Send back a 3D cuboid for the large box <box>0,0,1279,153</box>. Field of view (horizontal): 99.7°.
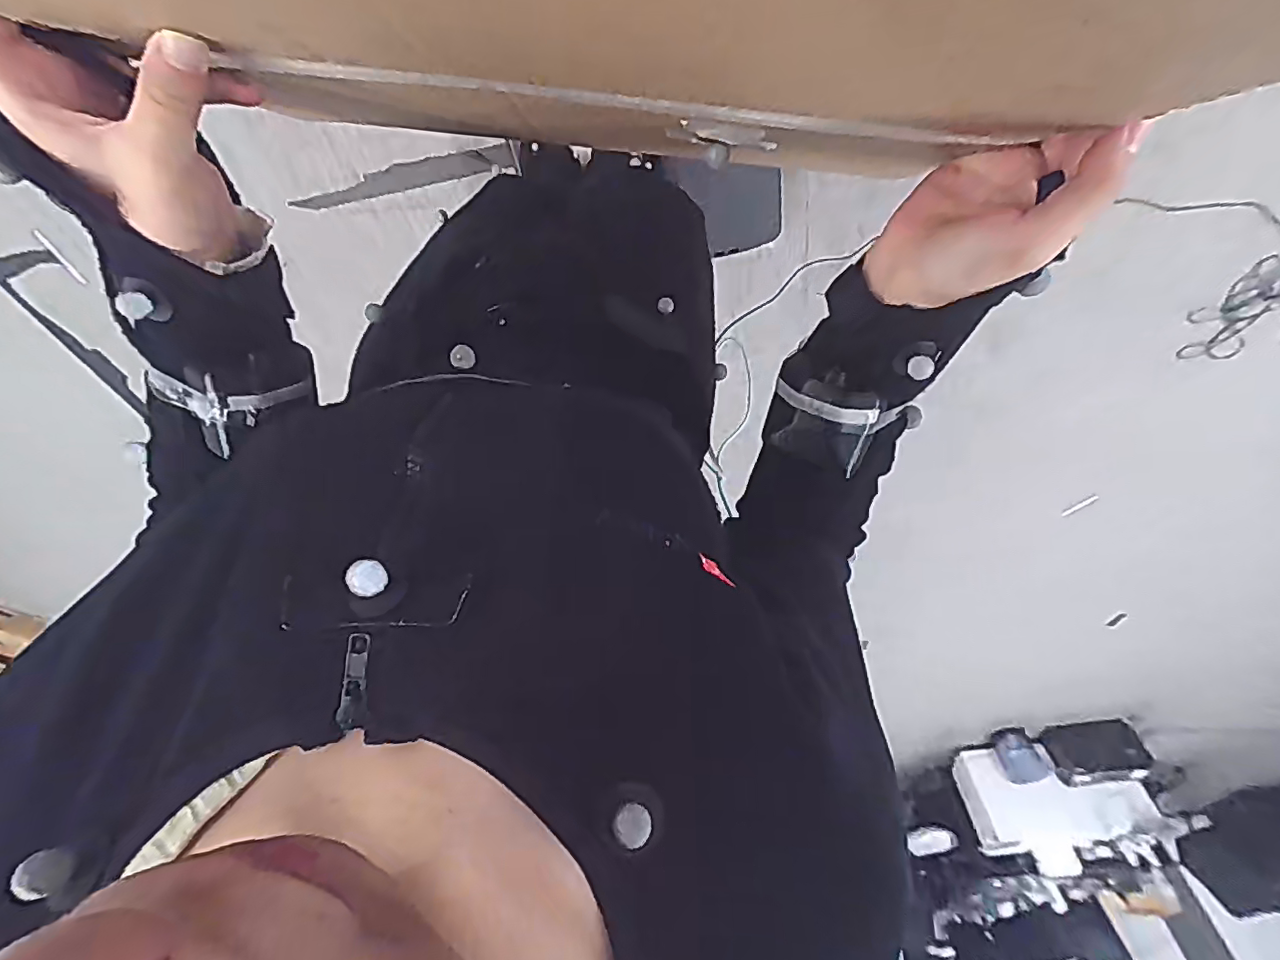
[{"bbox_3d":[-0.024,-0.306,0.155,0.408,0.320,0.320,3,115,-1],"label":"large box"}]
